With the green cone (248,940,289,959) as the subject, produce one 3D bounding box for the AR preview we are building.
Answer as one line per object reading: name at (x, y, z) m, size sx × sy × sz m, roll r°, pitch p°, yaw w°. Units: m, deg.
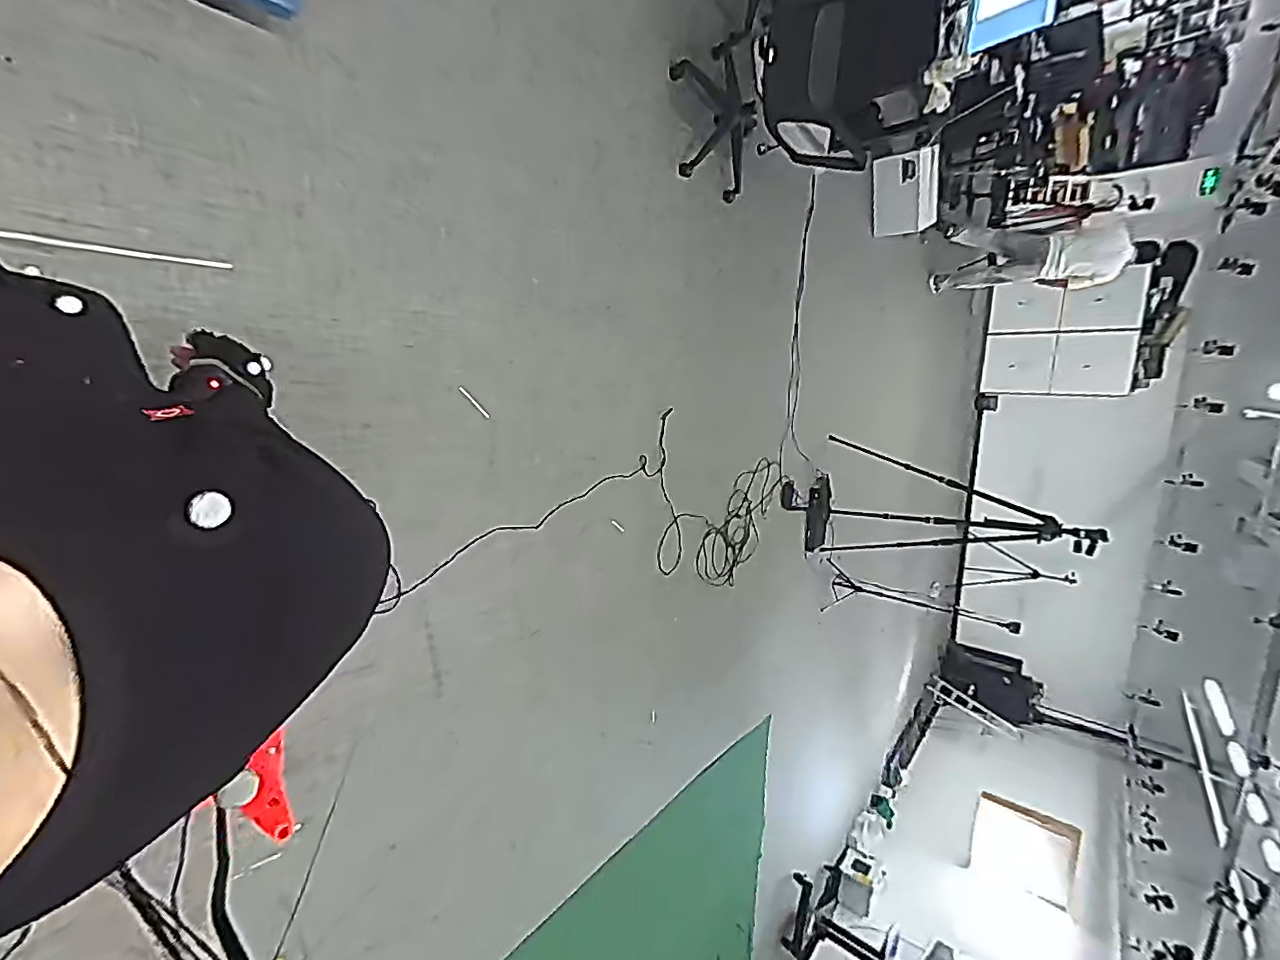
green cone at (-0.929, 1.411, 1.352) m, size 0.200 × 0.368 × 0.202 m, roll -7°, pitch 102°, yaw -50°
